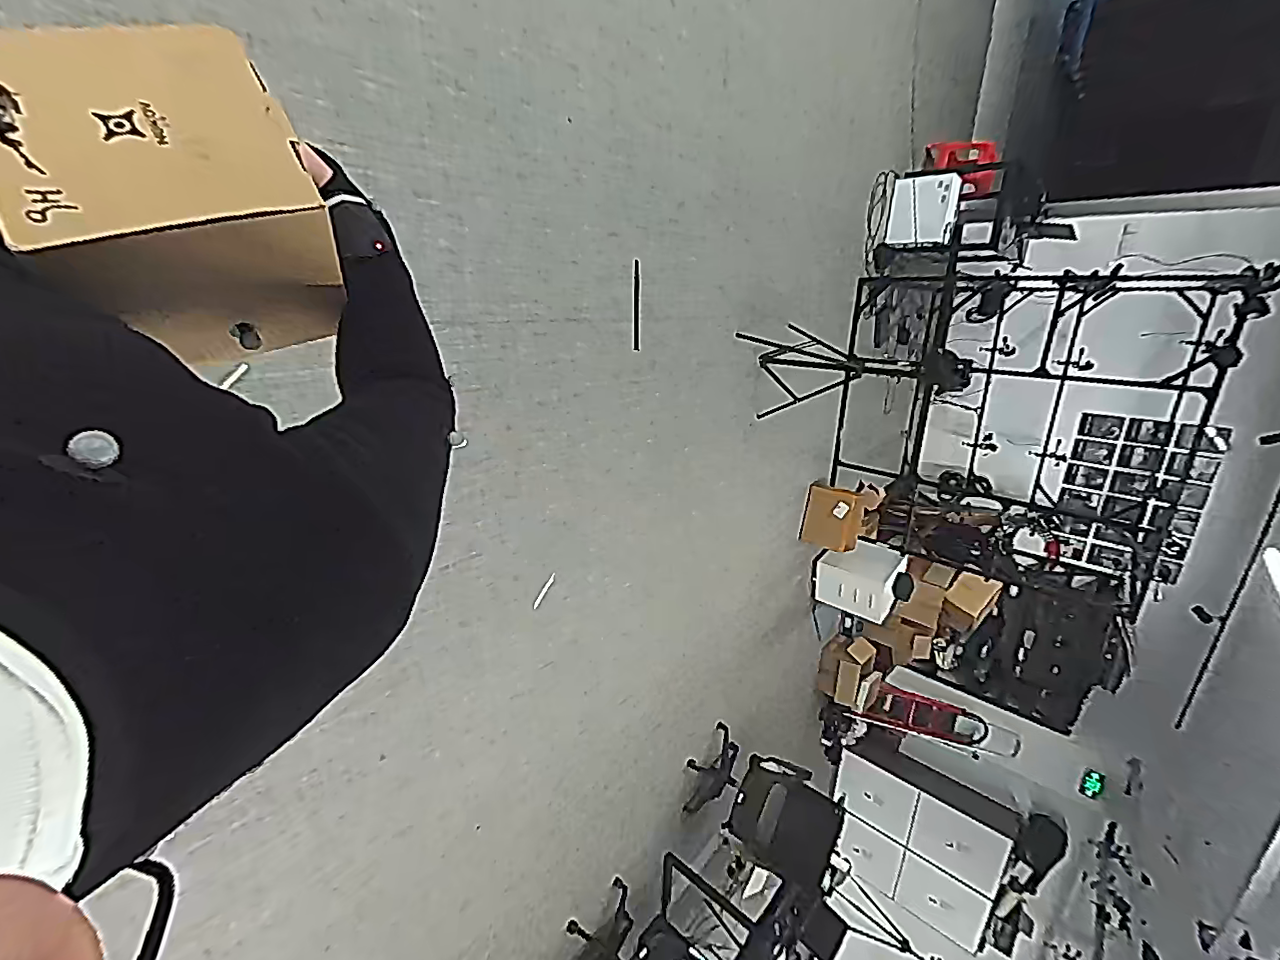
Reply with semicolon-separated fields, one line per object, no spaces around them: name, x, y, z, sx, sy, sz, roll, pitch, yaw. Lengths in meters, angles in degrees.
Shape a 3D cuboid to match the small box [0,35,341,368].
small box;-0.370;-0.219;0.450;0.179;0.176;0.168;-25;83;-27
